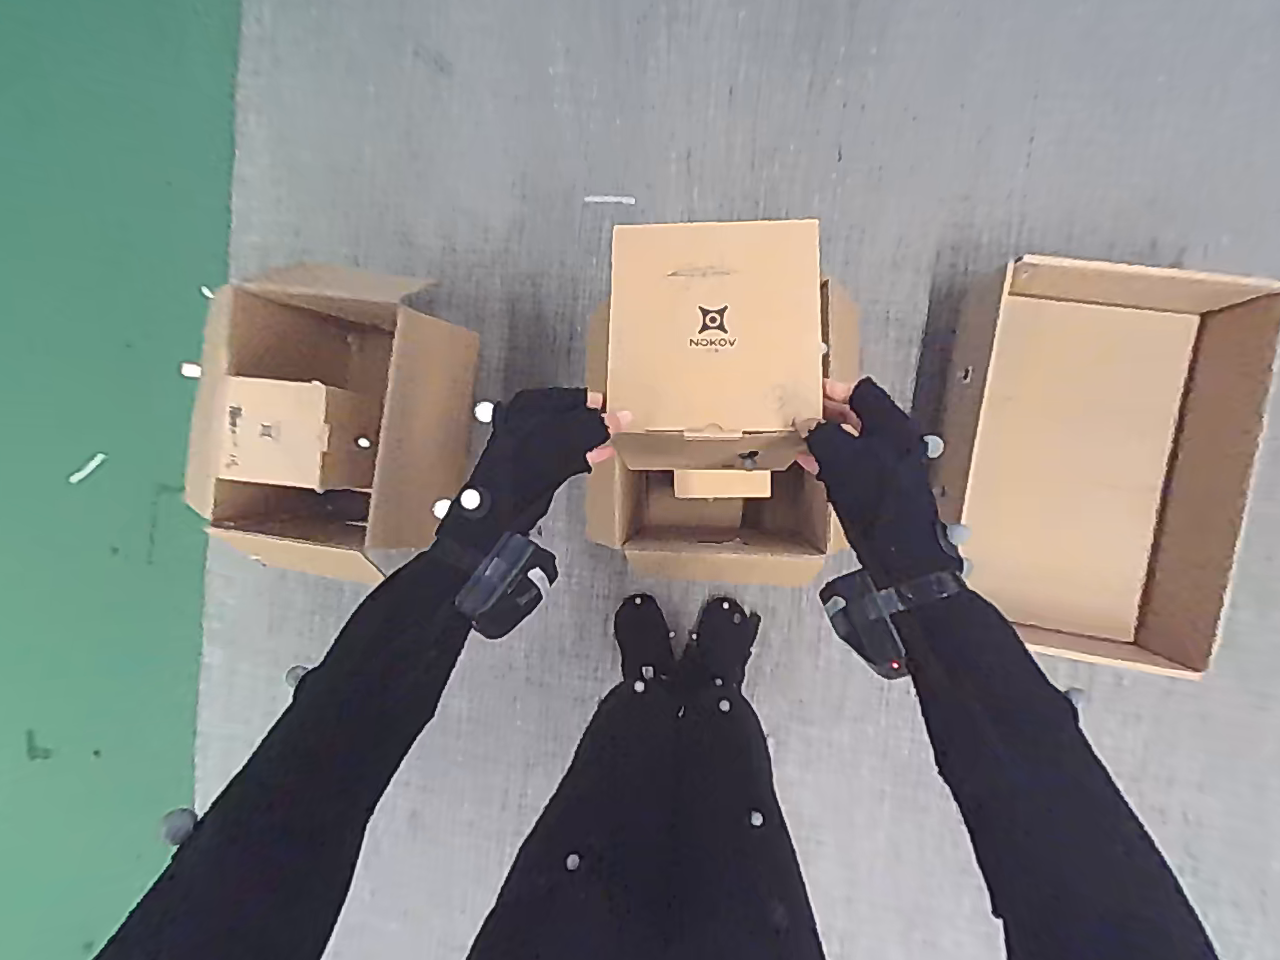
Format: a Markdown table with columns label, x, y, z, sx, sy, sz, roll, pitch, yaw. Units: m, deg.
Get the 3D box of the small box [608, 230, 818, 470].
| label | x | y | z | sx | sy | sz | roll | pitch | yaw |
| --- | --- | --- | --- | --- | --- | --- | --- | --- | --- |
| small box | 0.066 | -0.106 | 0.510 | 0.168 | 0.176 | 0.179 | 1 | 82 | 5 |
